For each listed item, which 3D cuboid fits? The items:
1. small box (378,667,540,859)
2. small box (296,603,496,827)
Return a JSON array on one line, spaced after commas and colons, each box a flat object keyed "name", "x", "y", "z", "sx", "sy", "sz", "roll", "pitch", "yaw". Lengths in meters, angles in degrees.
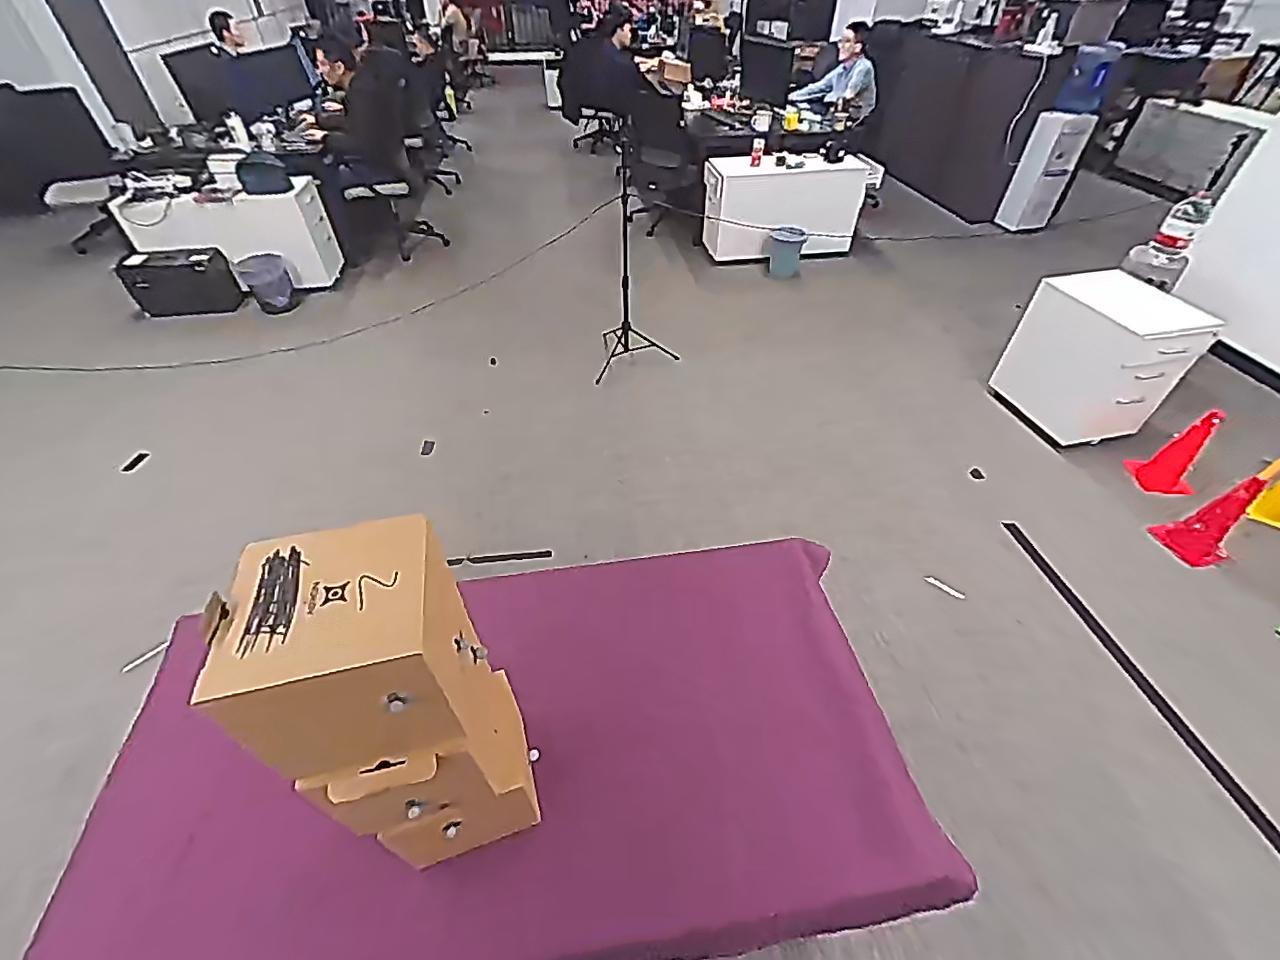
[{"name": "small box", "x": -0.250, "y": 0.399, "z": 0.761, "sx": 0.179, "sy": 0.176, "sz": 0.168, "roll": -13, "pitch": 46, "yaw": -14}, {"name": "small box", "x": -0.273, "y": 0.279, "z": 0.649, "sx": 0.168, "sy": 0.176, "sz": 0.179, "roll": -10, "pitch": 45, "yaw": -9}]
